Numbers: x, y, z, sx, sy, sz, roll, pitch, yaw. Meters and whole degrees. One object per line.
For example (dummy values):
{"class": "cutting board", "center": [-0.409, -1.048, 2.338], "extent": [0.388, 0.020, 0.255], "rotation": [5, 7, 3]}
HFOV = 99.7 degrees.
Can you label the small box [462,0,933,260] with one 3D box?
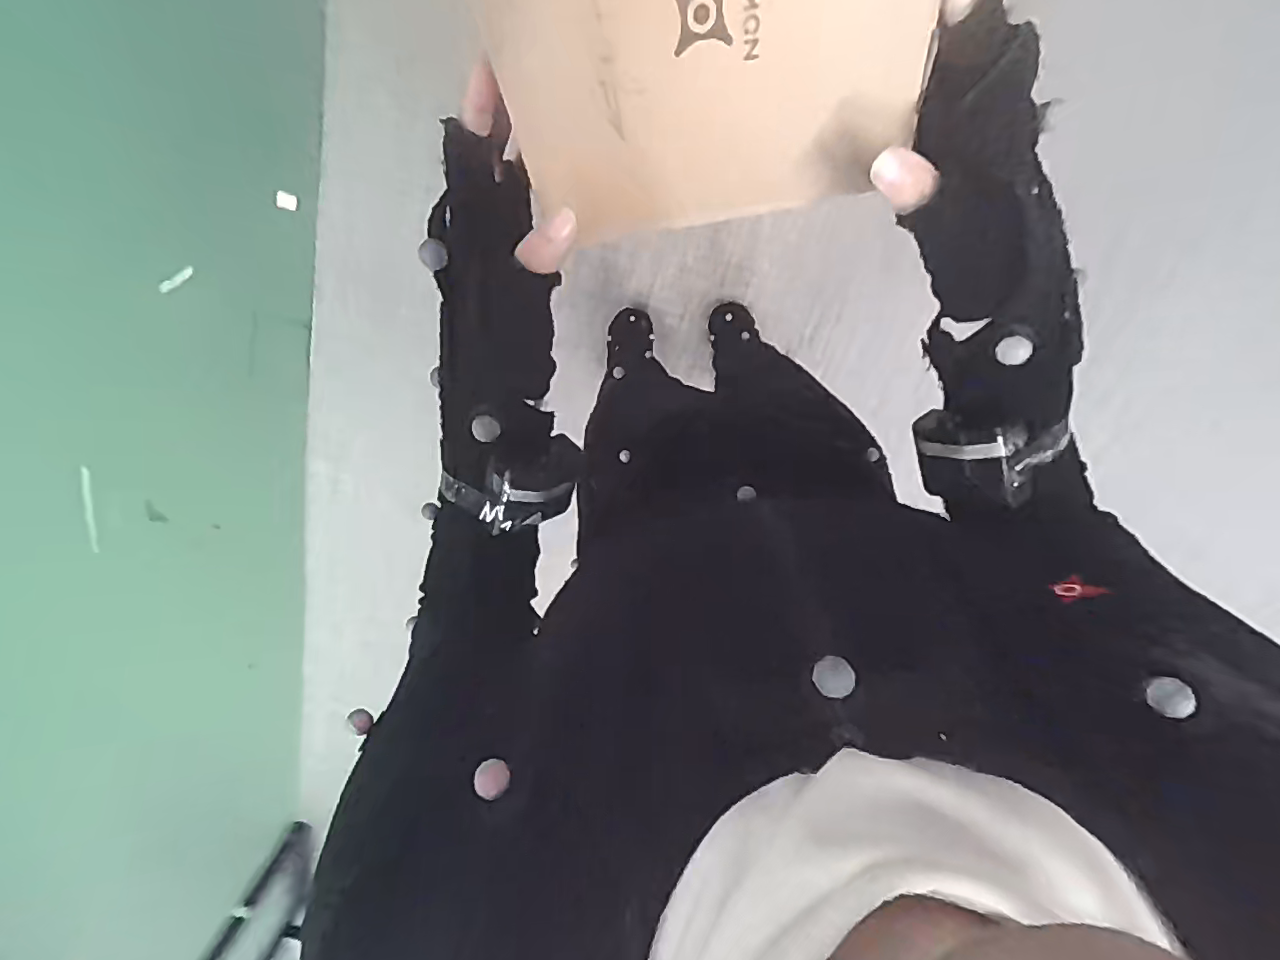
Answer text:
{"class": "small box", "center": [0.021, -0.239, 0.253], "extent": [0.179, 0.176, 0.168], "rotation": [-9, 143, 9]}
